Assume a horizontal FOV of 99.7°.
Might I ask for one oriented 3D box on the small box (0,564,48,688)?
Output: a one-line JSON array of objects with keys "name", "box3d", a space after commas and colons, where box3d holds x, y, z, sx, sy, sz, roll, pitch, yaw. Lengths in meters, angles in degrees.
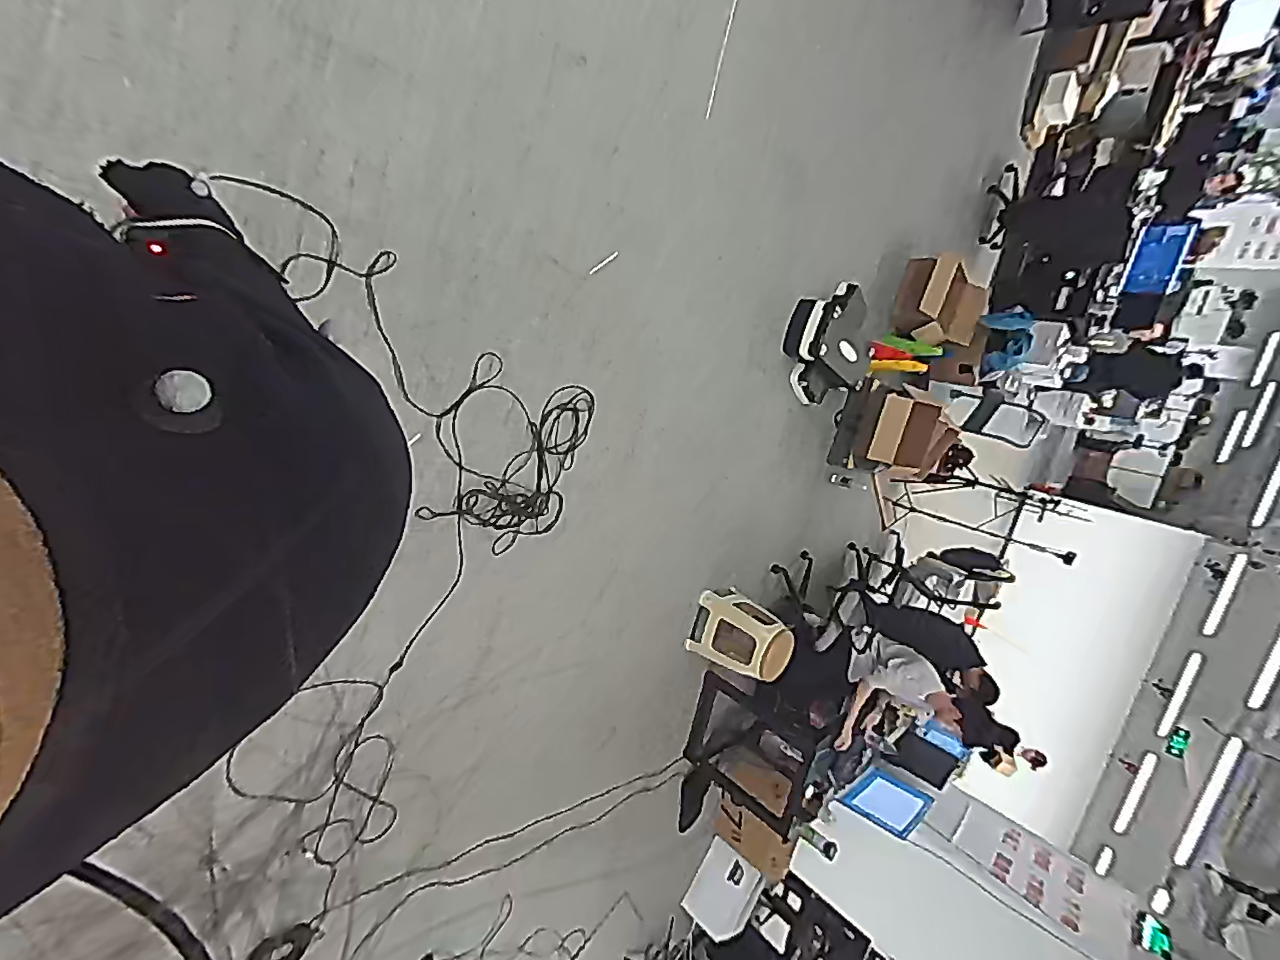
[{"name": "small box", "box3d": [-1.221, 0.269, 0.994, 0.168, 0.176, 0.179, 7, 102, -49]}]
